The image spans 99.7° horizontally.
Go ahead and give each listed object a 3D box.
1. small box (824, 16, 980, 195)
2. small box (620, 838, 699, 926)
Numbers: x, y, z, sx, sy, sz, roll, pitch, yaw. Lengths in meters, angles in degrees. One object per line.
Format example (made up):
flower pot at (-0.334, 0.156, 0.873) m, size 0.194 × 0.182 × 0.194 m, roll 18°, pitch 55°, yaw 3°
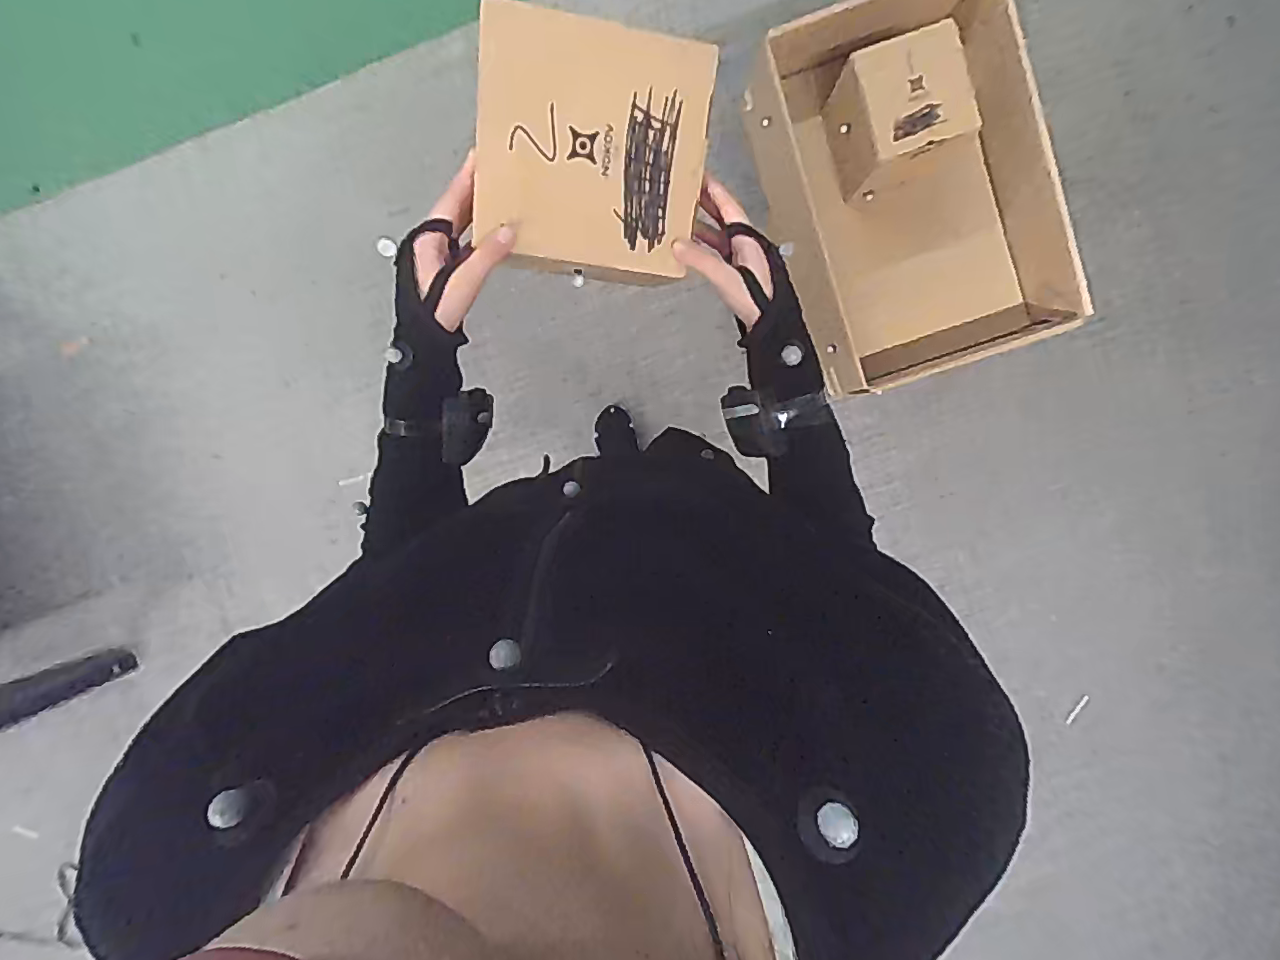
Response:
small box at (0.435, -0.618, 0.924) m, size 0.168 × 0.176 × 0.179 m, roll -17°, pitch 94°, yaw 4°
small box at (0.053, 1.153, 1.519) m, size 0.179 × 0.176 × 0.168 m, roll -21°, pitch 94°, yaw 4°
